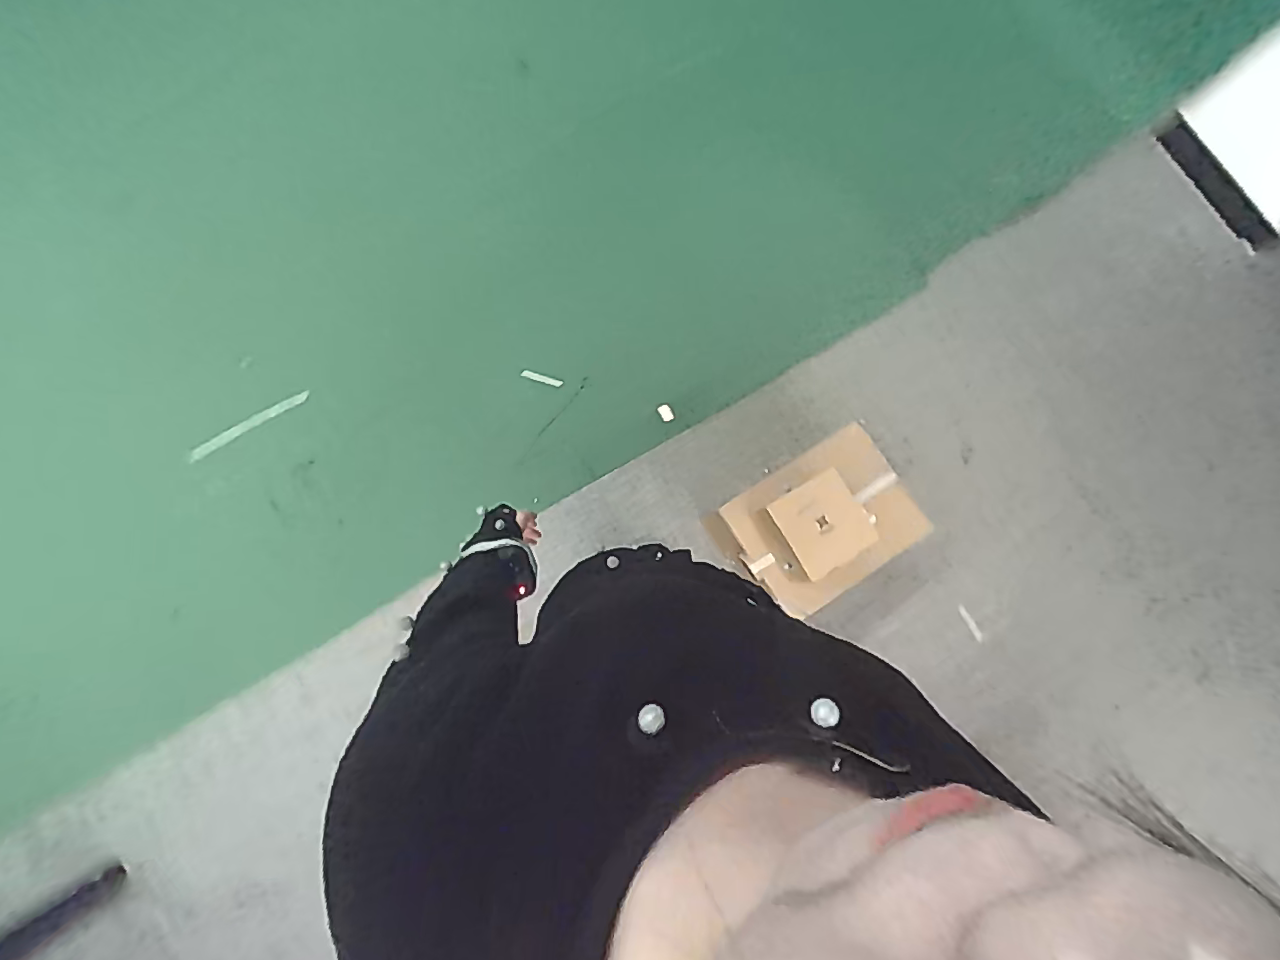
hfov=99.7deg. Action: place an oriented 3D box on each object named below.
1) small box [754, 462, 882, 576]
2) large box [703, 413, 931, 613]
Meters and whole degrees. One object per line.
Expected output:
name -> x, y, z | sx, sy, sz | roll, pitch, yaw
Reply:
small box -> 0.365, 0.086, 1.143 | 0.168, 0.176, 0.179 | -29, 82, -6
large box -> 0.425, 0.094, 1.392 | 0.408, 0.320, 0.320 | -32, 84, -6
